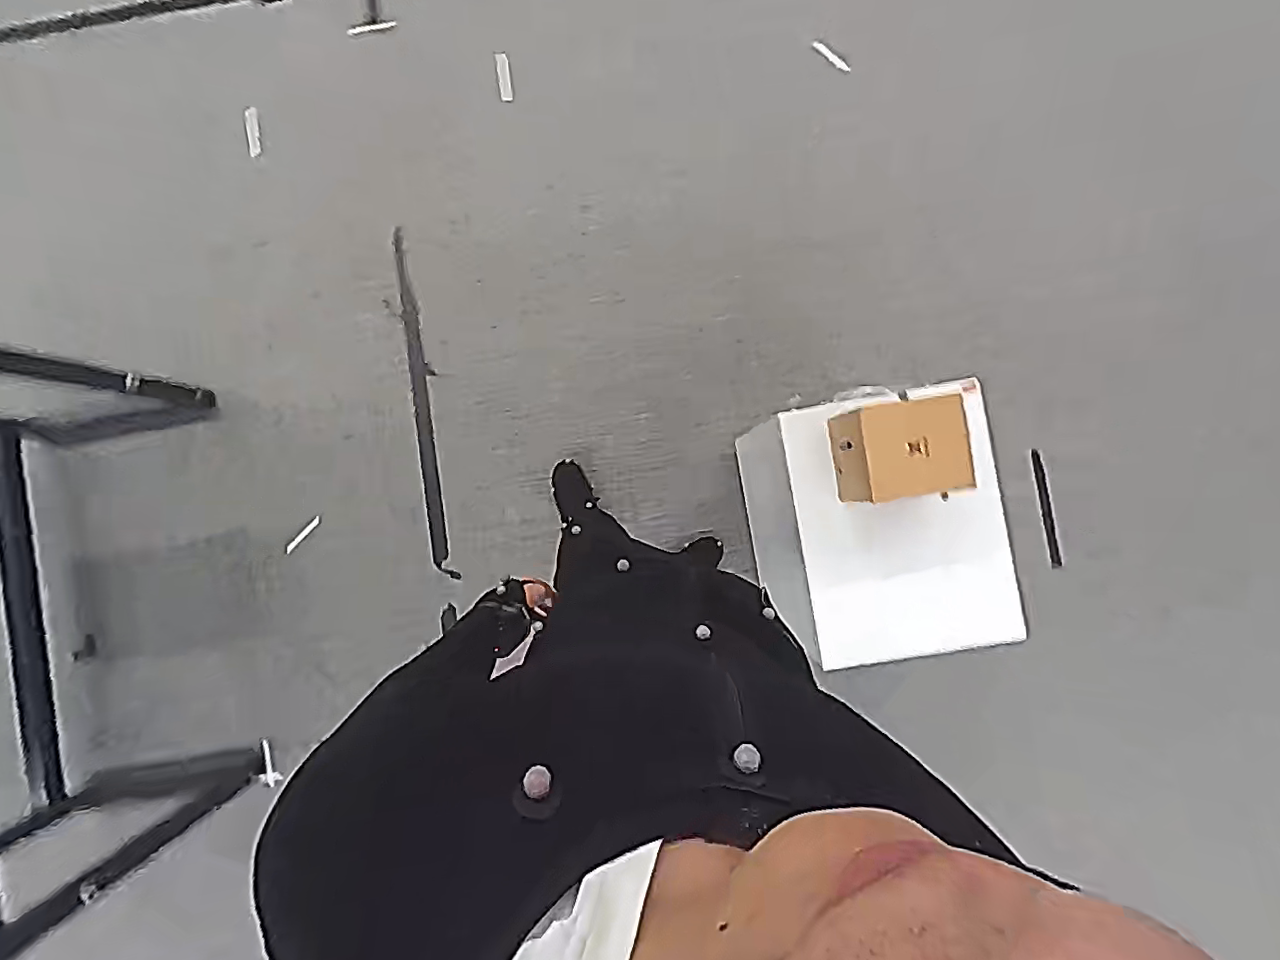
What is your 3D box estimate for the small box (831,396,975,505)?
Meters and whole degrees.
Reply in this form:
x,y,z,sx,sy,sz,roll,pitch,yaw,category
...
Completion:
x,y,z,sx,sy,sz,roll,pitch,yaw,category
0.458,-0.046,0.975,0.179,0.176,0.168,-8,89,0,small box
